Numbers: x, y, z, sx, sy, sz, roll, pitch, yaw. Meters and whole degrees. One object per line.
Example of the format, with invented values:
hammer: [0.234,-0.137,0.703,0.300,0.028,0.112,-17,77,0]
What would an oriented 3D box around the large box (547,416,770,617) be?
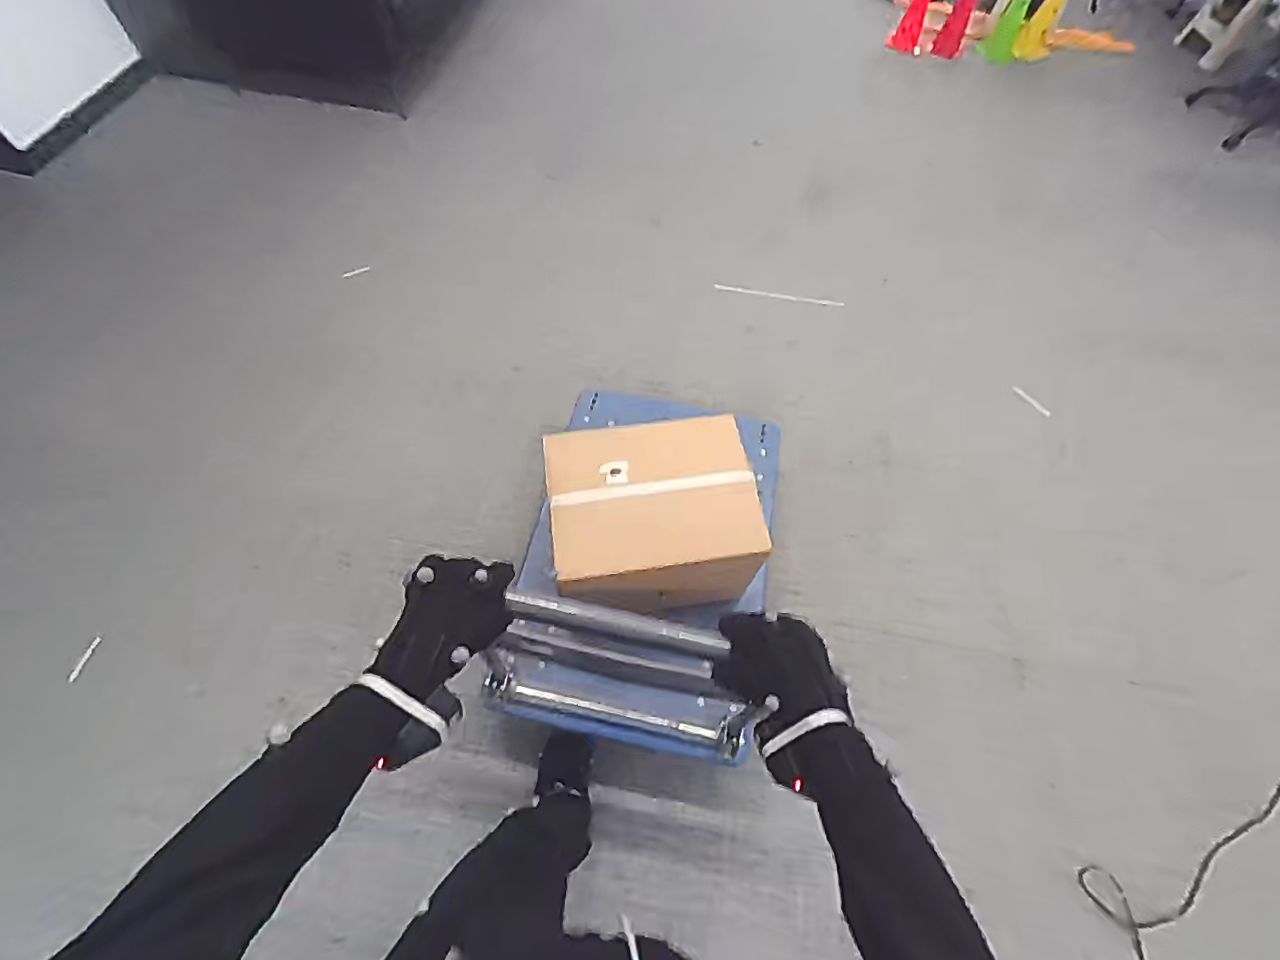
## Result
large box: [0.026,0.091,1.199,0.408,0.320,0.320,-8,61,-5]
